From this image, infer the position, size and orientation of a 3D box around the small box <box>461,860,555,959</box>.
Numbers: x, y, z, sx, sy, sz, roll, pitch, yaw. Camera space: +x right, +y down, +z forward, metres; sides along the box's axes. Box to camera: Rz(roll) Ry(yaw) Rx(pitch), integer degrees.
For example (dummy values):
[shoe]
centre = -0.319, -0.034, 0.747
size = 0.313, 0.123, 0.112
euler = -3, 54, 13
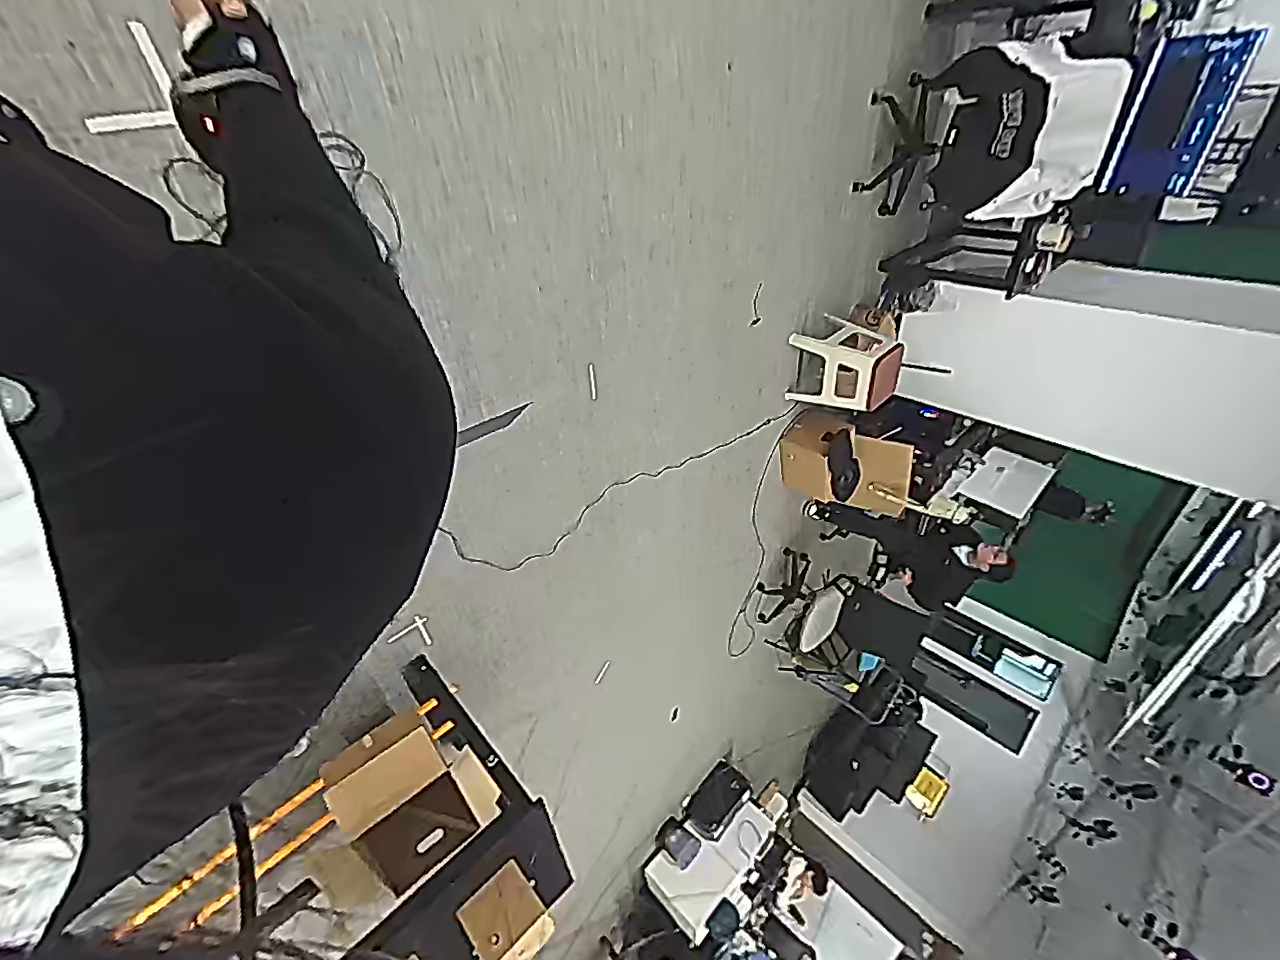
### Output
[small box]
centre = -0.358, 1.180, 1.446
size = 0.179, 0.176, 0.168
euler = -33, 135, -32
